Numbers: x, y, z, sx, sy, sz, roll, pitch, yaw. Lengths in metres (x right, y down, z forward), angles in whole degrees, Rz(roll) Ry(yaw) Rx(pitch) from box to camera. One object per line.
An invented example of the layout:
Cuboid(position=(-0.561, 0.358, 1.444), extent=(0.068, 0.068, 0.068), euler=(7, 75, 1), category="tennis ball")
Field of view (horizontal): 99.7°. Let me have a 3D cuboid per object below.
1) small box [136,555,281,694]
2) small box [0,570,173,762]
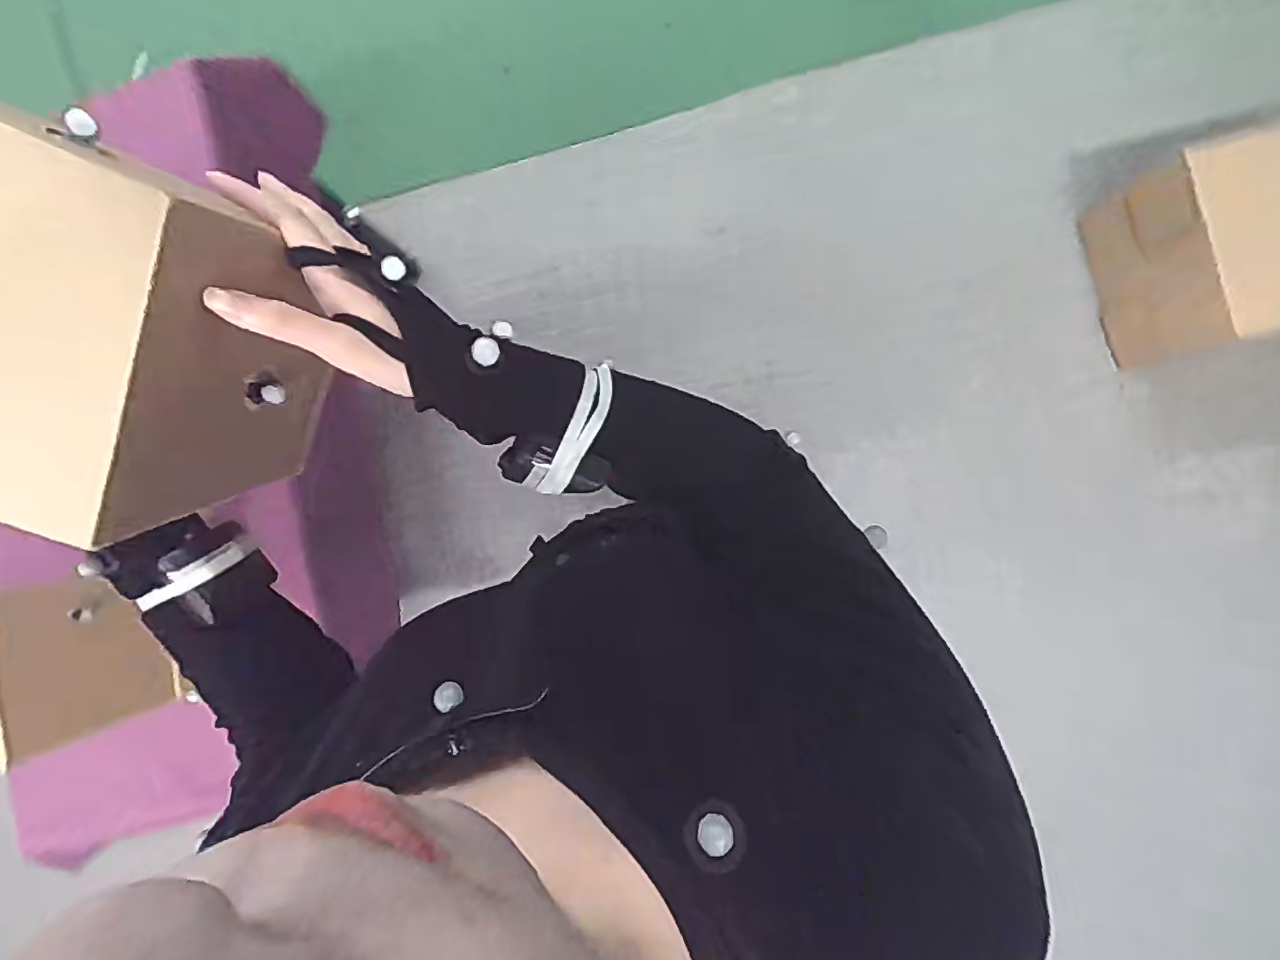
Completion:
Cuboid(position=(-0.667, 0.210, 0.778), extent=(0.179, 0.176, 0.168), euler=(-13, 87, 7), category="small box")
Cuboid(position=(-0.689, 0.205, 0.616), extent=(0.168, 0.176, 0.179), euler=(-12, 87, 7), category="small box")
